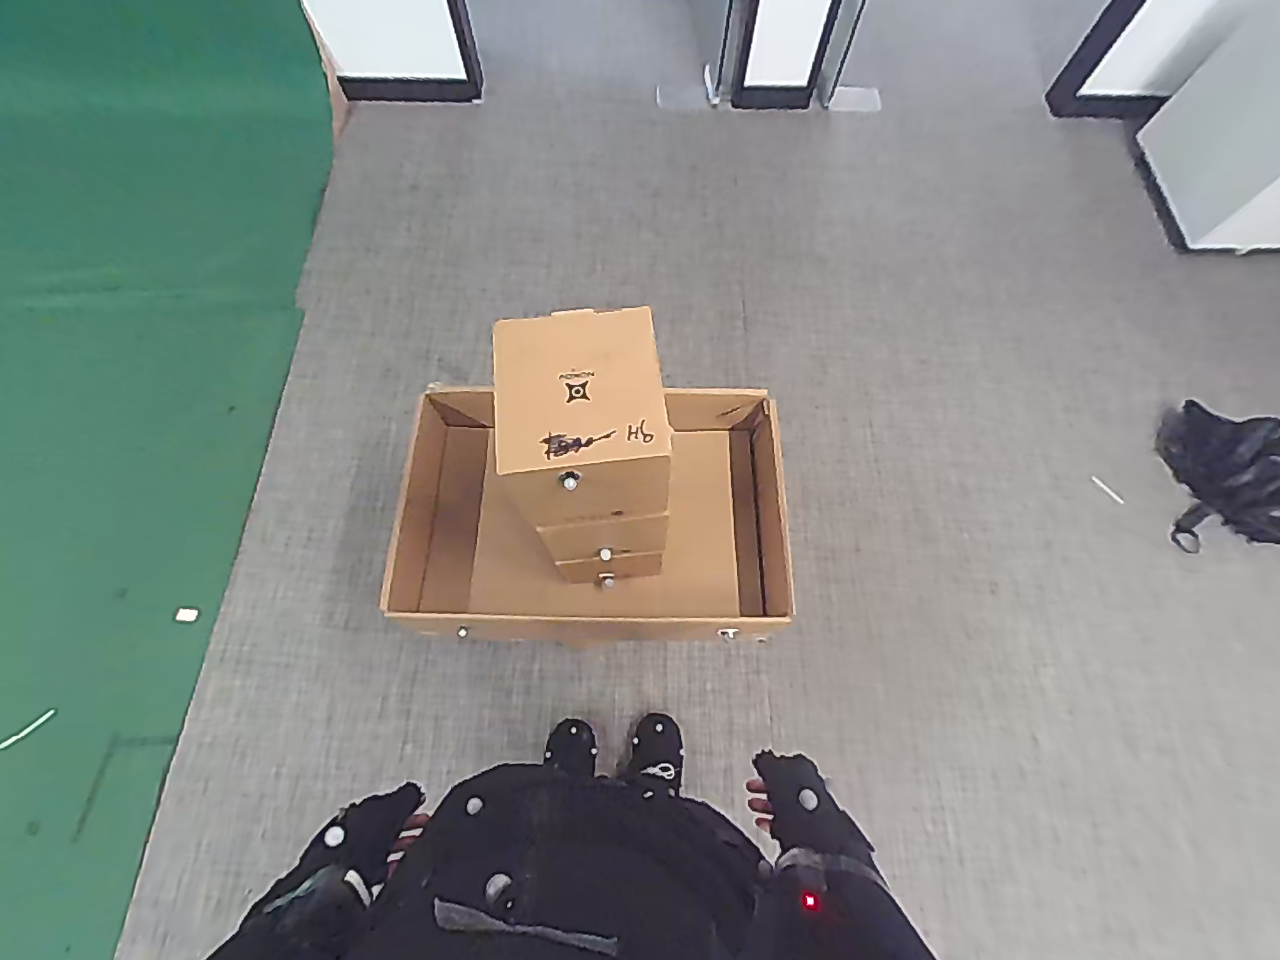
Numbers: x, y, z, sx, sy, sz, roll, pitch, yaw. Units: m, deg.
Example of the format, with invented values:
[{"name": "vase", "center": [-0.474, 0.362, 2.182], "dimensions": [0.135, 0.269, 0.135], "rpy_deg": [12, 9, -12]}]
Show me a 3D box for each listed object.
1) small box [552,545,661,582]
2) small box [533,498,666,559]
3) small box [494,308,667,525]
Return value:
[{"name": "small box", "center": [-0.058, 0.064, 0.914], "dimensions": [0.168, 0.176, 0.179], "rpy_deg": [-6, 69, -2]}, {"name": "small box", "center": [-0.057, 0.000, 0.763], "dimensions": [0.168, 0.176, 0.179], "rpy_deg": [-6, 68, -1]}, {"name": "small box", "center": [-0.062, -0.064, 0.612], "dimensions": [0.168, 0.176, 0.179], "rpy_deg": [-7, 67, -1]}]
